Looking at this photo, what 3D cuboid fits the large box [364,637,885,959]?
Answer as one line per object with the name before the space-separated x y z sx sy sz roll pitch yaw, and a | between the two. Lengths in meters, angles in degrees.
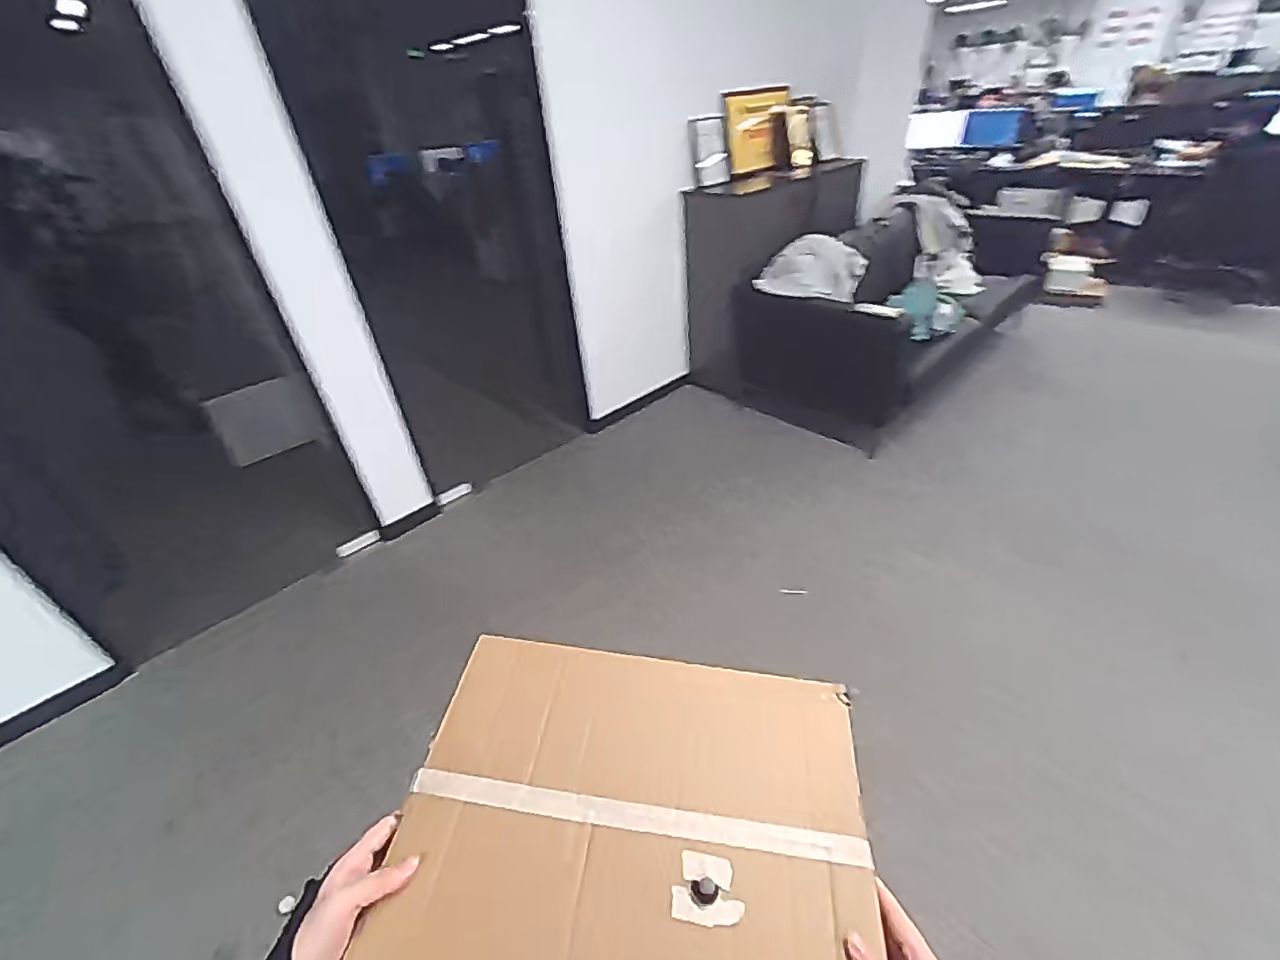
large box | 0.000 0.413 0.588 0.408 0.320 0.320 7 41 6
